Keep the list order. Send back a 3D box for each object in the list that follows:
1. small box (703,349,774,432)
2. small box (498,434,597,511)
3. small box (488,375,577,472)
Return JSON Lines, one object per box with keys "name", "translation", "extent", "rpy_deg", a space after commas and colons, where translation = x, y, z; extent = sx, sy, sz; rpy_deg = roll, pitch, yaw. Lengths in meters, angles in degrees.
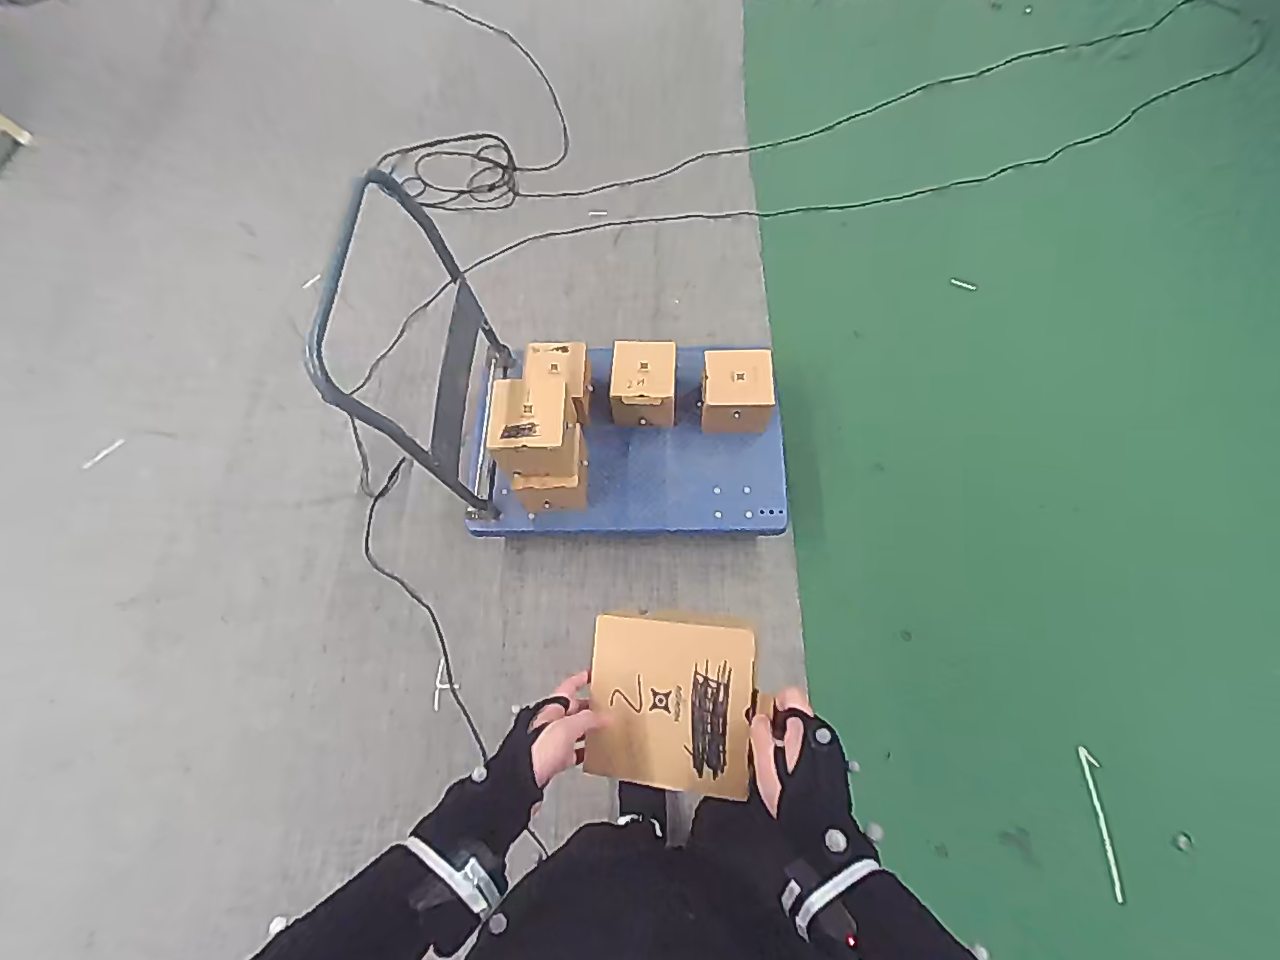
{"name": "small box", "translation": [0.260, -0.238, 1.463], "extent": [0.179, 0.176, 0.168], "rpy_deg": [1, 69, 3]}
{"name": "small box", "translation": [-0.234, -0.040, 1.415], "extent": [0.179, 0.176, 0.168], "rpy_deg": [28, 73, 14]}
{"name": "small box", "translation": [-0.242, -0.126, 1.264], "extent": [0.168, 0.176, 0.179], "rpy_deg": [0, 67, 2]}
